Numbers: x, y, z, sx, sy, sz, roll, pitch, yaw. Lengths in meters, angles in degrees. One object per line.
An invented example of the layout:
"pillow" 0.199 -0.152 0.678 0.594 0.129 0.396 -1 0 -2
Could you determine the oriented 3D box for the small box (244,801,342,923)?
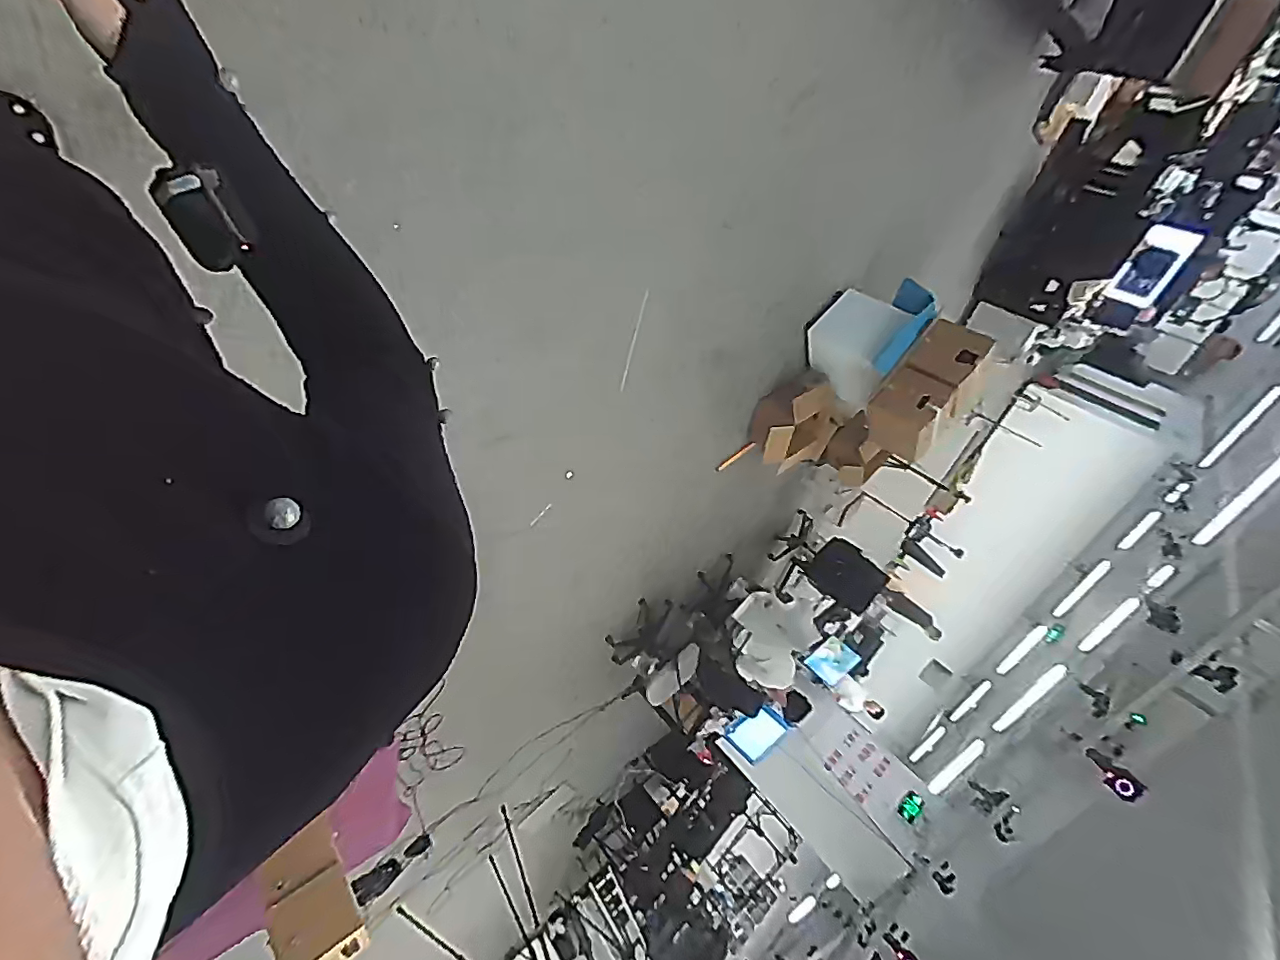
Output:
"small box" -0.922 1.006 1.434 0.179 0.176 0.168 -22 141 -39
